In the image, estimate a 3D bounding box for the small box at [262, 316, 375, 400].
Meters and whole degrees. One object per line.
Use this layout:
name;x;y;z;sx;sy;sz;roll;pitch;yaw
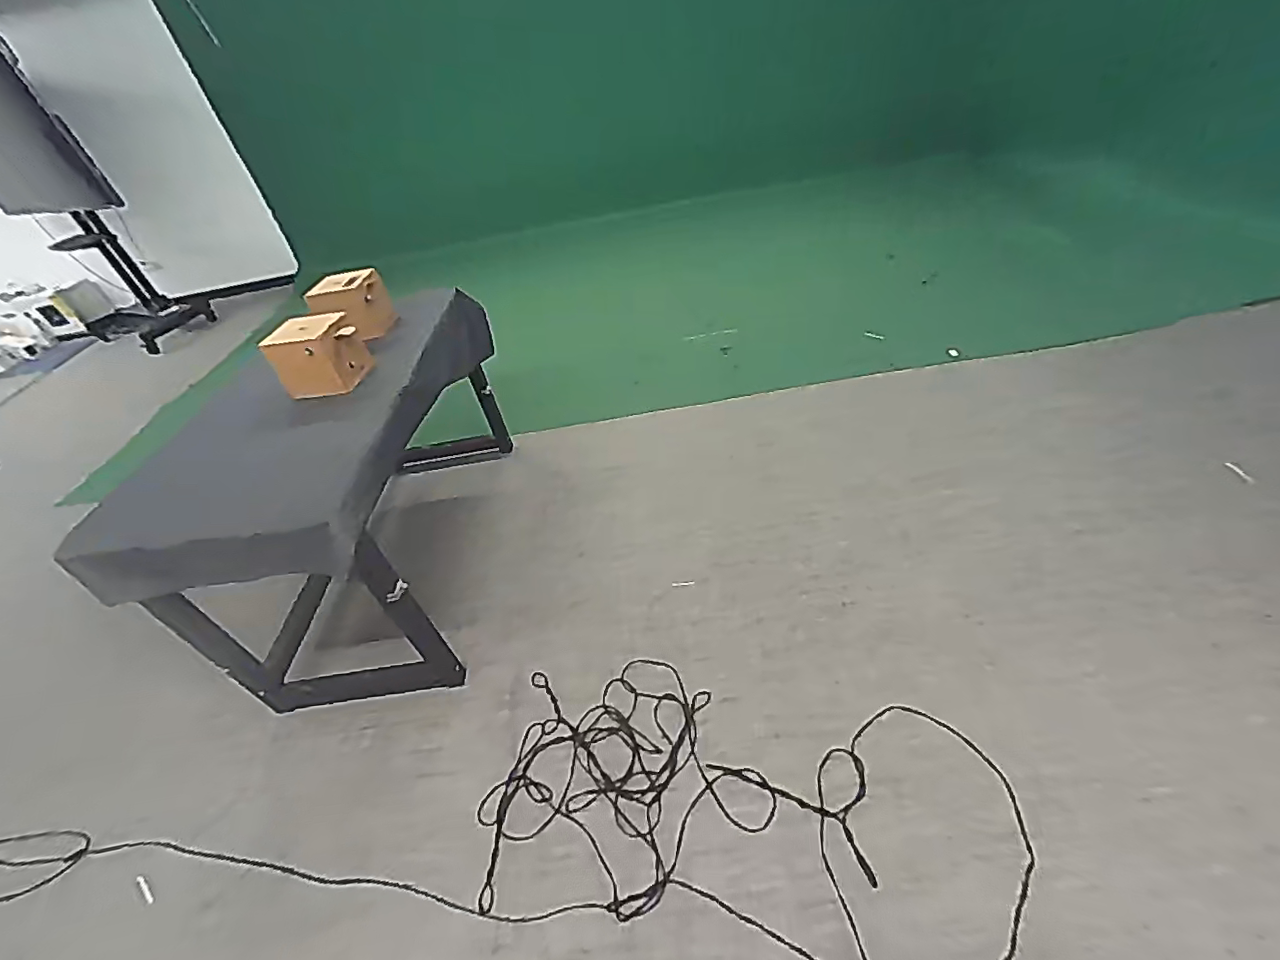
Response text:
small box;-0.883;-0.336;1.505;0.179;0.176;0.168;-5;40;8
